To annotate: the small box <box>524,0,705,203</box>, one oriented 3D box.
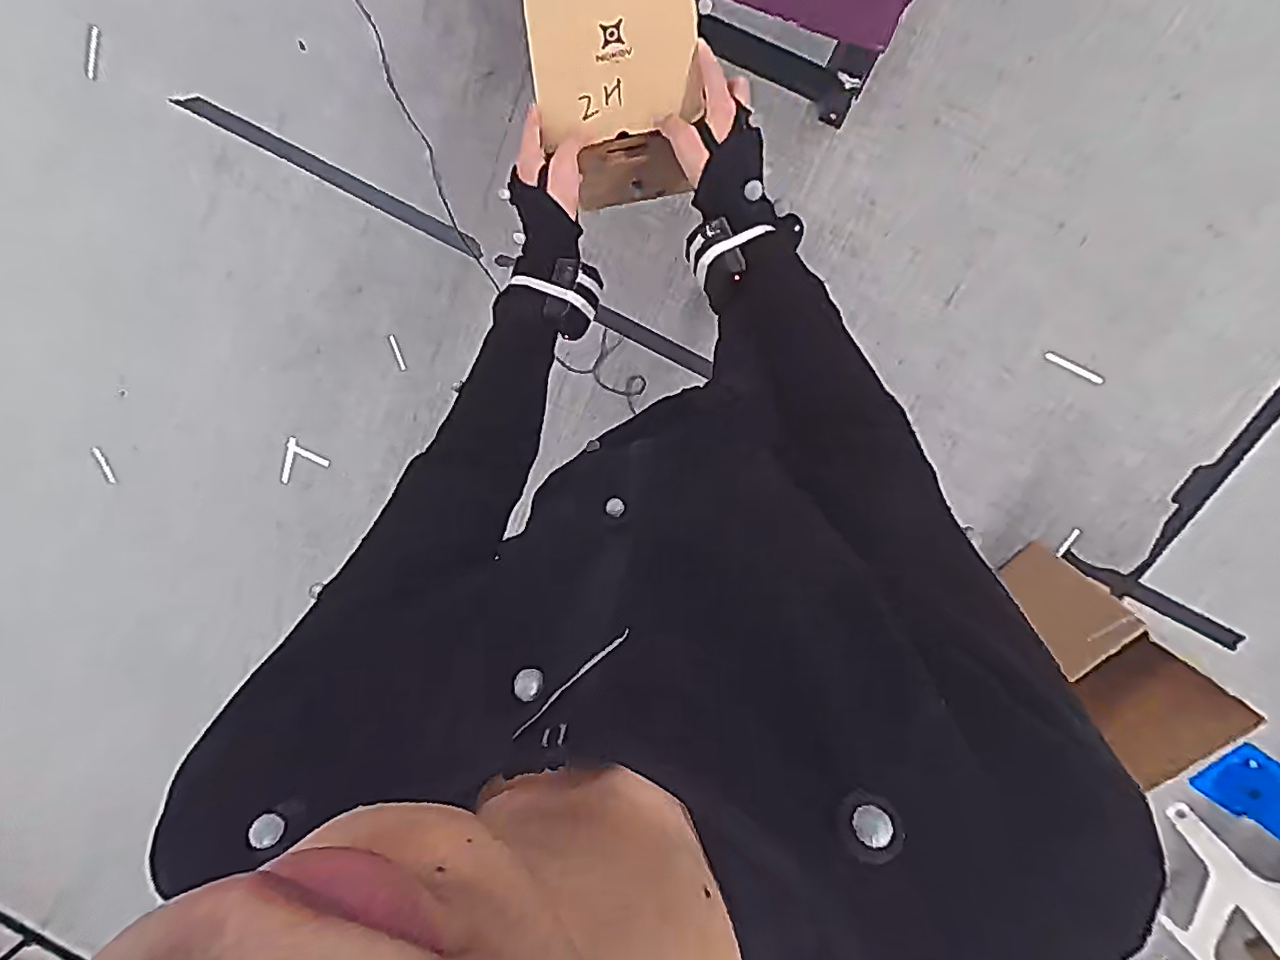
[{"bbox_3d":[-0.018,-0.440,0.601,0.168,0.176,0.179,-6,98,9],"label":"small box"}]
